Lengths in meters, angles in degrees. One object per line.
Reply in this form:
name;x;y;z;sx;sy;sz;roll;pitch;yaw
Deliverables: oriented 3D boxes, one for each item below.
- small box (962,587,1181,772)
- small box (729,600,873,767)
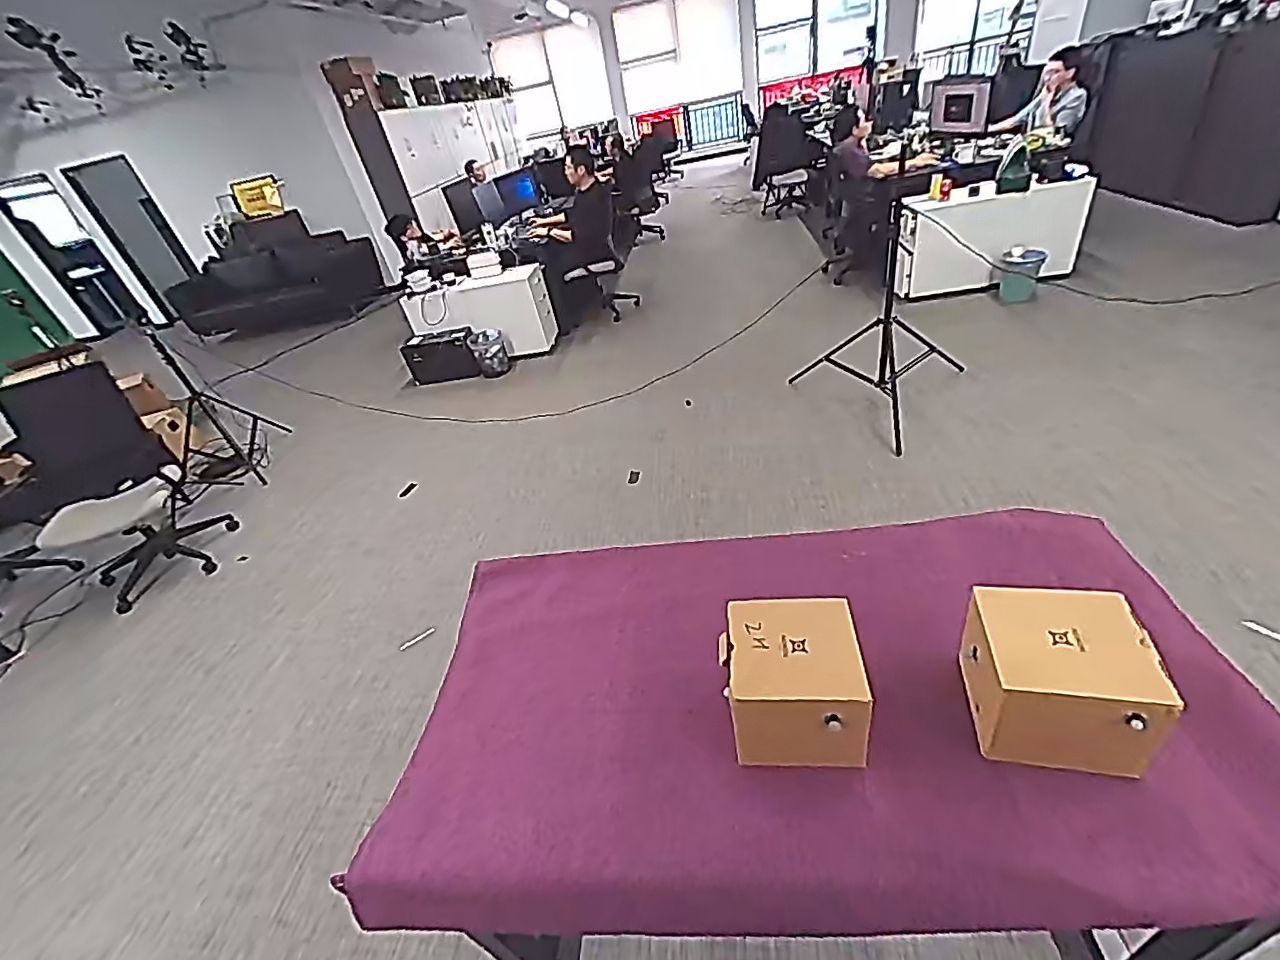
small box;0.547;0.263;0.723;0.179;0.176;0.168;-1;37;18
small box;0.225;0.294;0.786;0.179;0.176;0.168;-5;35;12
